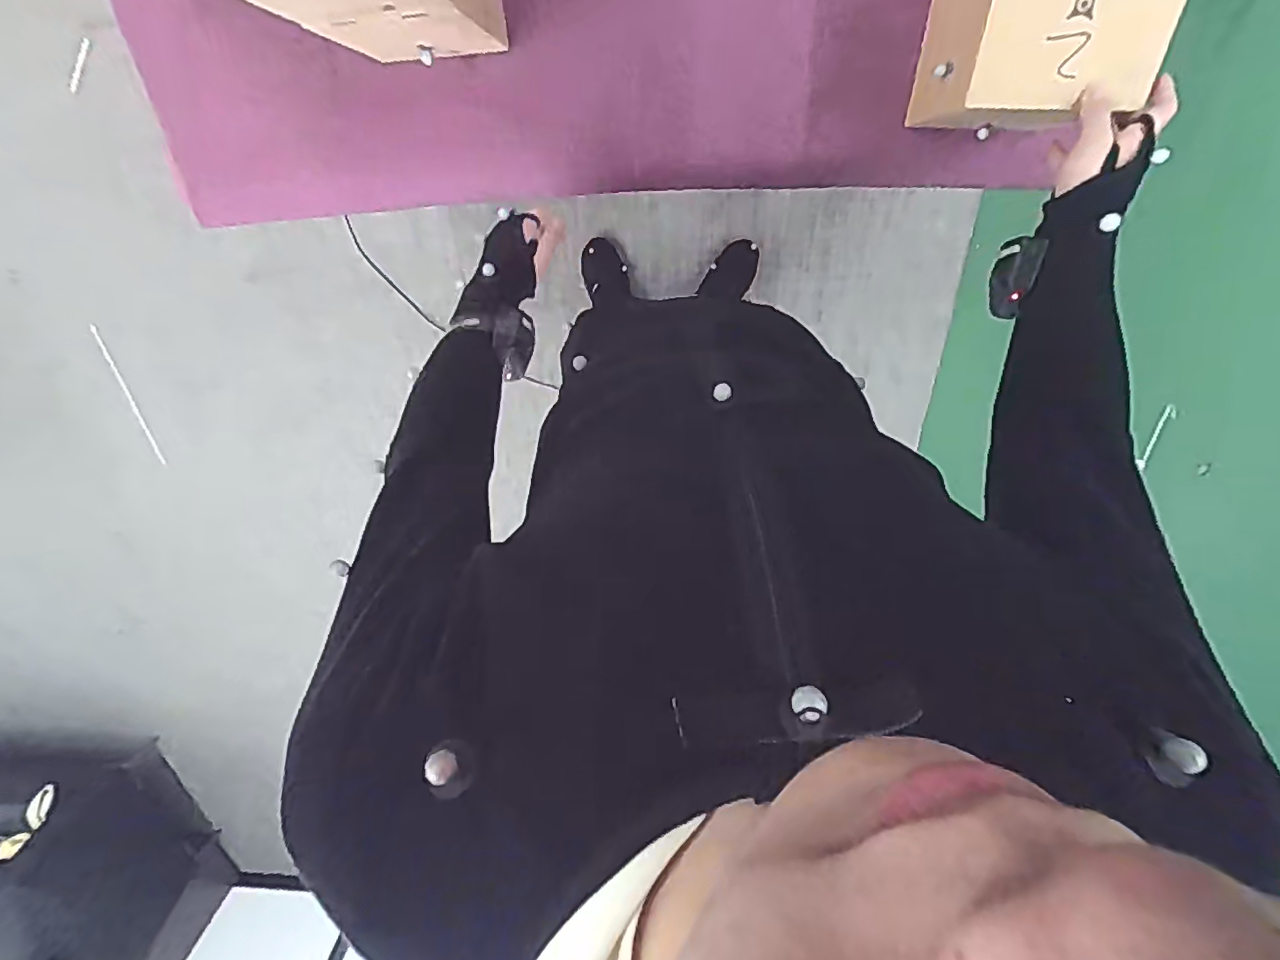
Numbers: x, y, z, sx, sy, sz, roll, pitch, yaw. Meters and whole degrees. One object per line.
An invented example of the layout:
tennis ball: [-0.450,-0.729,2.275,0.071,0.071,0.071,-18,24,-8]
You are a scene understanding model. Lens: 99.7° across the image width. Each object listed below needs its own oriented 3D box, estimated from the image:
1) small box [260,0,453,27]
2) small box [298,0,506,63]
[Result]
small box: [-0.264,-0.485,0.412,0.168,0.176,0.179,-1,117,6]
small box: [-0.251,-0.561,0.557,0.168,0.176,0.179,0,118,6]
